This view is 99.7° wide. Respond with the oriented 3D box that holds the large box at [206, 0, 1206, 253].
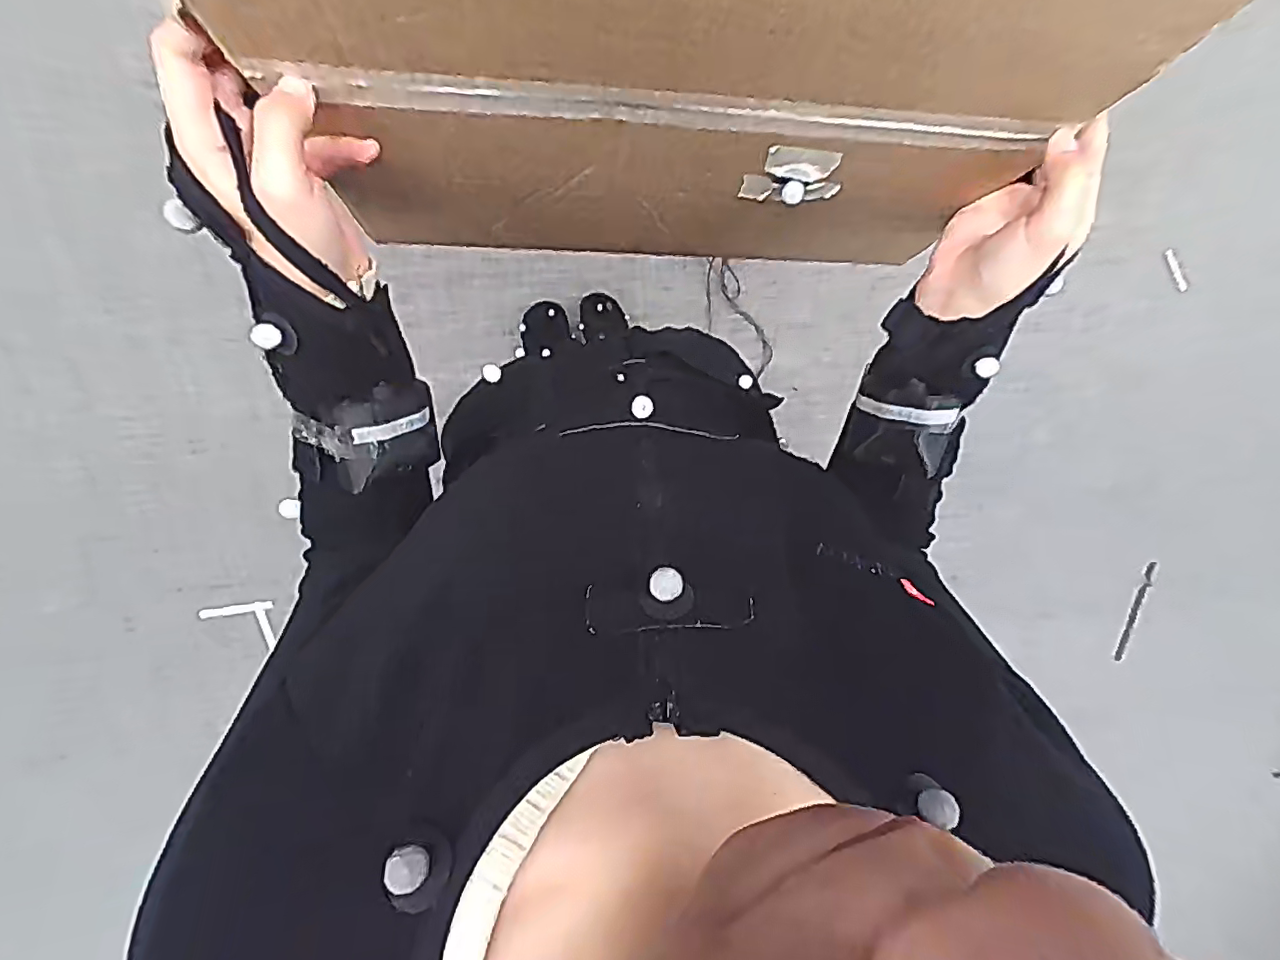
[{"bbox_3d":[0.017,-0.337,0.274,0.408,0.320,0.320,-2,88,-7],"label":"large box"}]
